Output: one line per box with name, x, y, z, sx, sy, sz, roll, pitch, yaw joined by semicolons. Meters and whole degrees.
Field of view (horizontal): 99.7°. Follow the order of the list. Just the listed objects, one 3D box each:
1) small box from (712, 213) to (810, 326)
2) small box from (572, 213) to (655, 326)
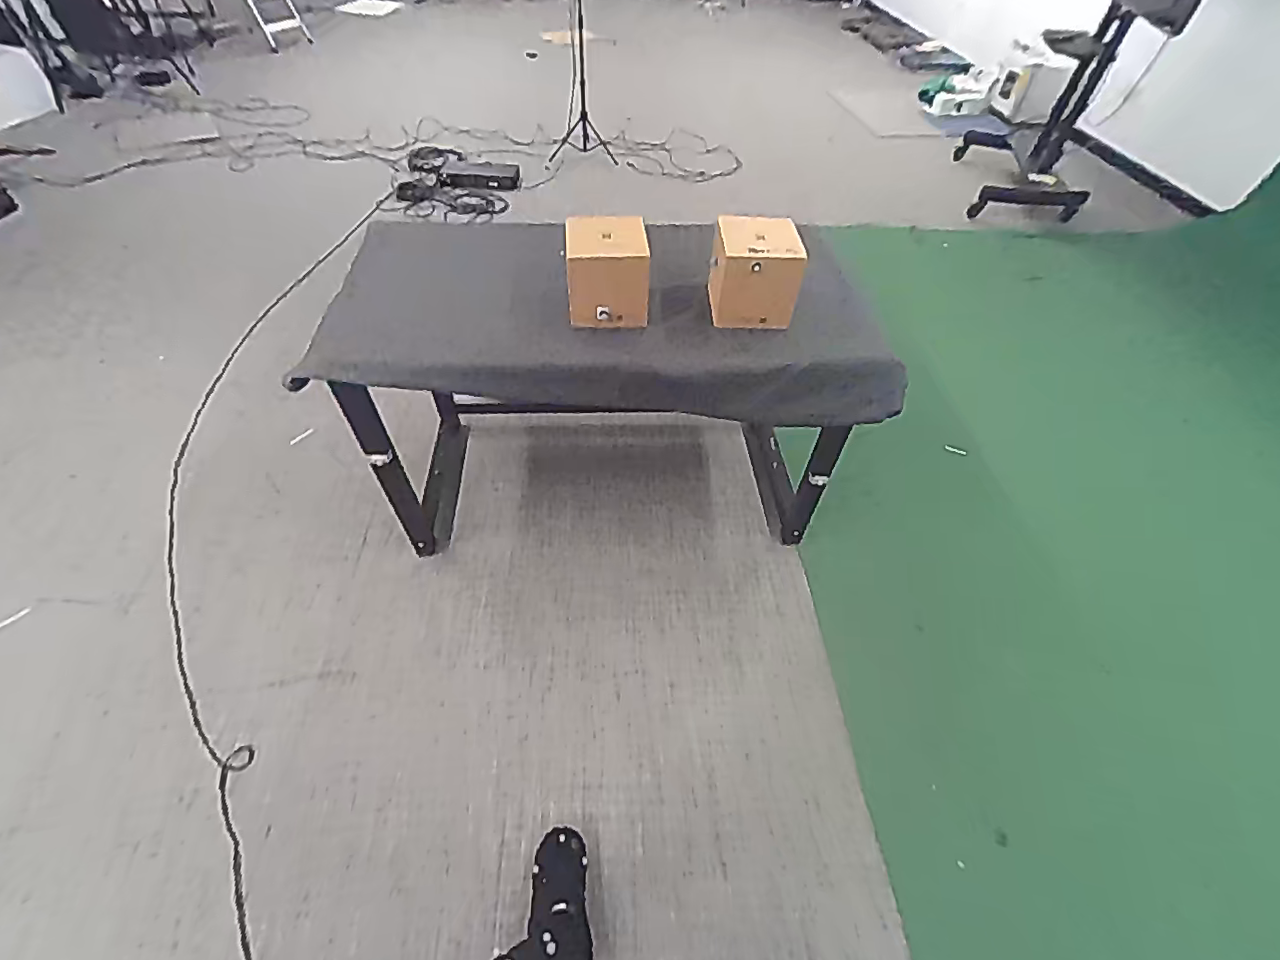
small box;0.255;-0.460;1.182;0.168;0.176;0.179;0;50;-1
small box;-0.061;-0.453;1.167;0.168;0.176;0.179;-4;51;-4
